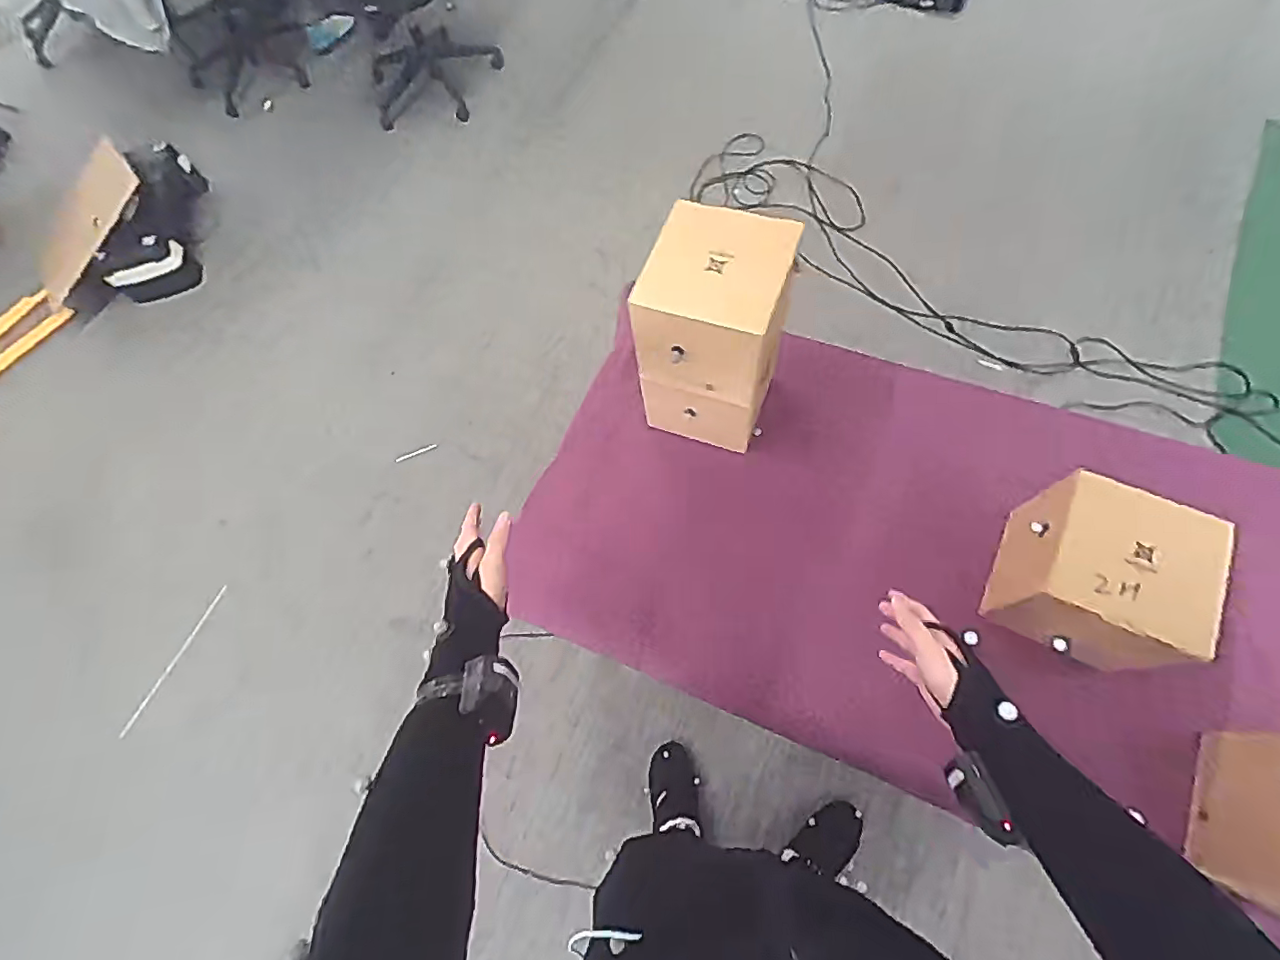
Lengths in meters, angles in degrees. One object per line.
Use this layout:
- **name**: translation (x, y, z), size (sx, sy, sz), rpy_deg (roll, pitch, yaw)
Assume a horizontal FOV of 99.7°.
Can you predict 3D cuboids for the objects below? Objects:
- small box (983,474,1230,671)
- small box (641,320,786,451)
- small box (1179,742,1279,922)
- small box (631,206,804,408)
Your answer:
- **small box**: translation (0.582, 0.125, 0.697), size (0.168, 0.176, 0.179), rpy_deg (25, 73, 16)
- **small box**: translation (0.118, -0.165, 0.870), size (0.179, 0.176, 0.168), rpy_deg (17, 71, 14)
- **small box**: translation (0.741, 0.393, 0.565), size (0.179, 0.176, 0.168), rpy_deg (25, 71, 16)
- **small box**: translation (0.104, -0.222, 0.719), size (0.168, 0.176, 0.179), rpy_deg (18, 70, 13)
